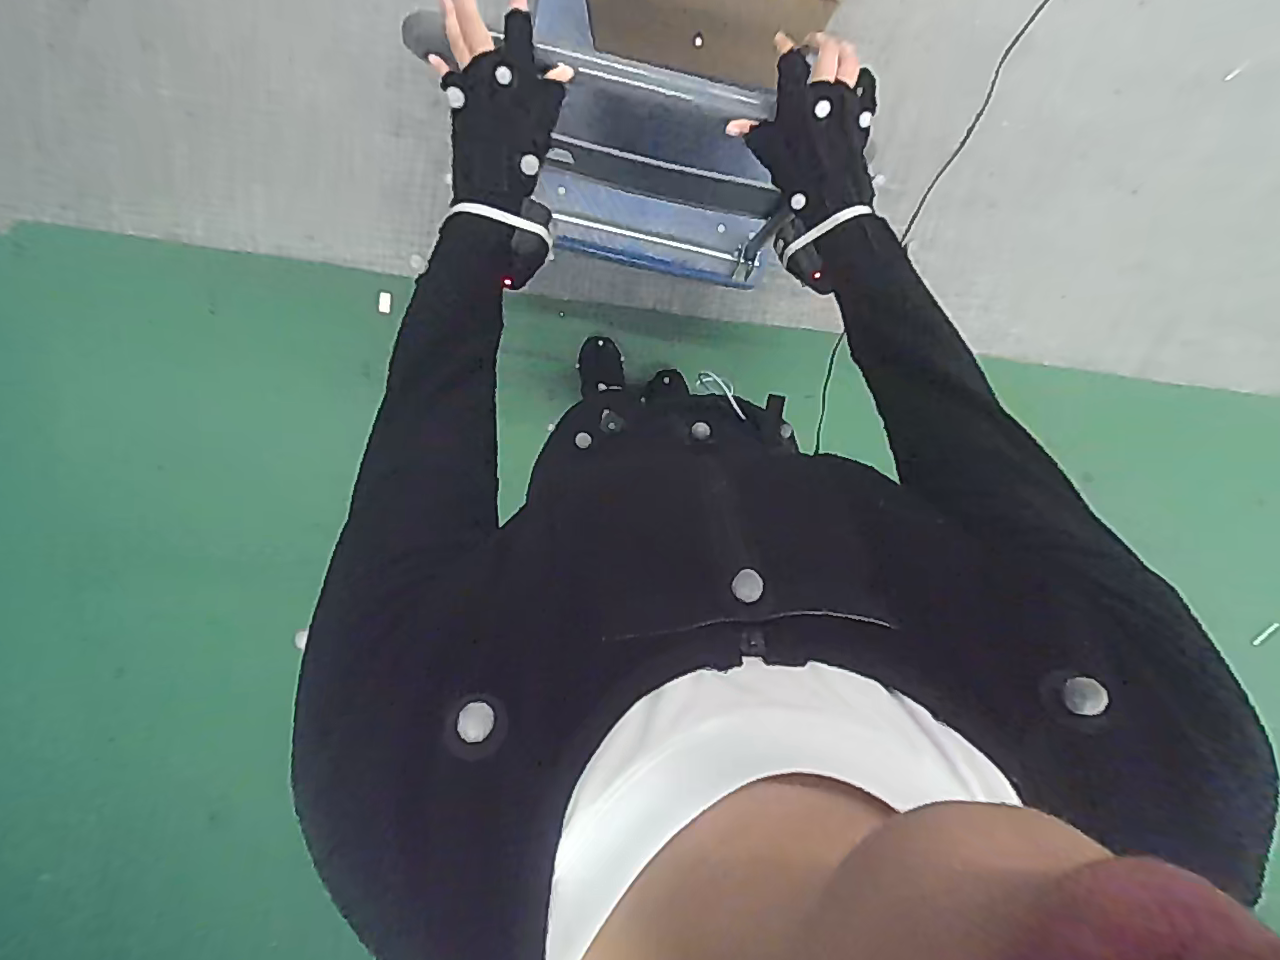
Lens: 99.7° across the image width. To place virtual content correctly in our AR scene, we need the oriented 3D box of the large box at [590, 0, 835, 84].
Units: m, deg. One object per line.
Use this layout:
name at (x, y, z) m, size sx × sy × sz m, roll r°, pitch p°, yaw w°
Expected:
large box at (0.135, -0.949, 0.927) m, size 0.408 × 0.320 × 0.320 m, roll 10°, pitch 103°, yaw -2°
